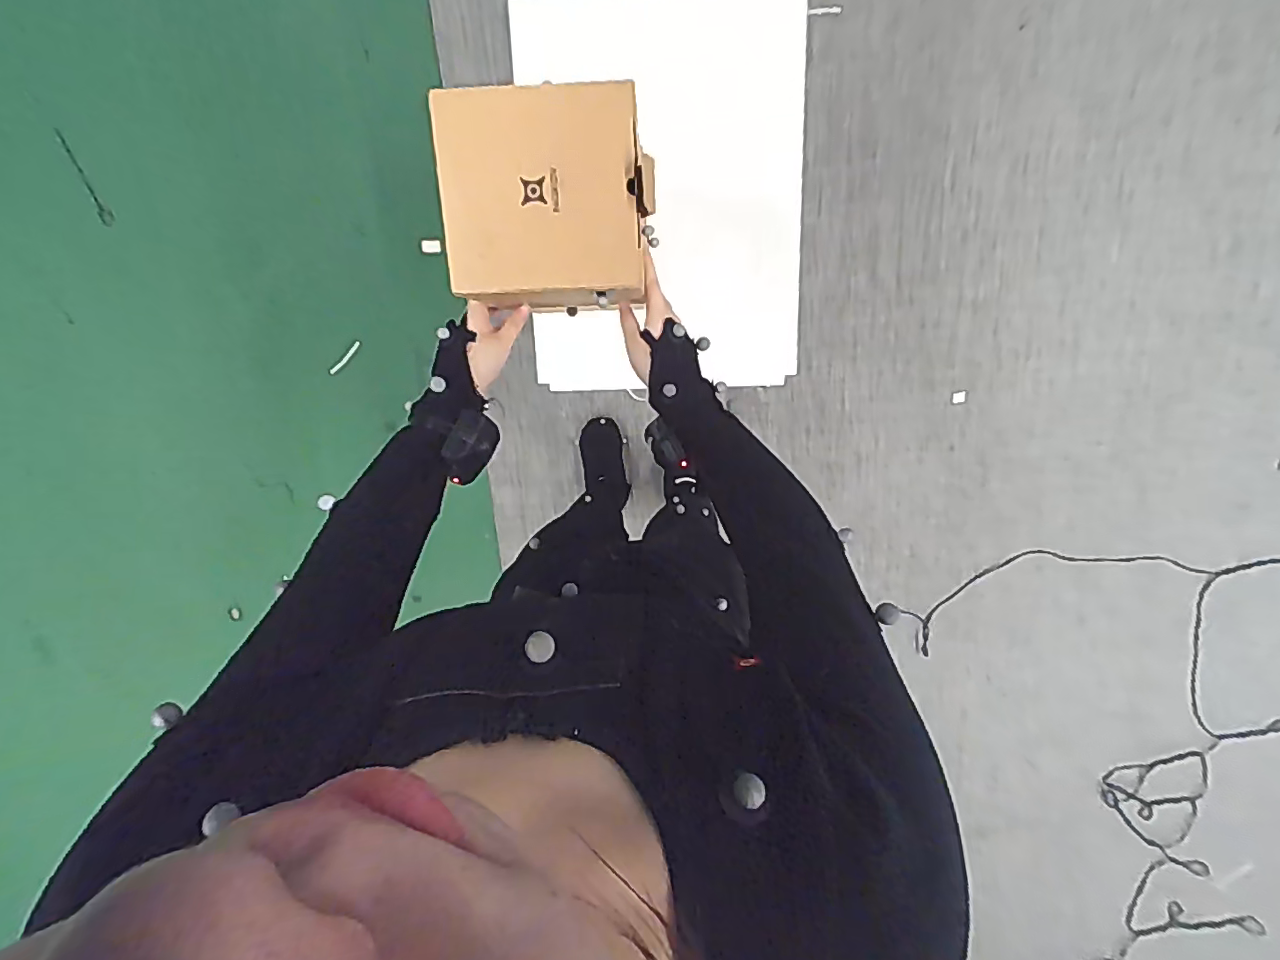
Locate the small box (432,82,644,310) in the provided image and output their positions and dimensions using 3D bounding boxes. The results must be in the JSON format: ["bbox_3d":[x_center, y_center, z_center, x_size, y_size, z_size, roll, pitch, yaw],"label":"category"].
[{"bbox_3d":[-0.087,-0.269,0.551,0.179,0.176,0.168,-3,102,1],"label":"small box"}]

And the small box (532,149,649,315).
[{"bbox_3d":[-0.079,-0.311,0.708,0.179,0.176,0.168,-2,103,2],"label":"small box"}]
